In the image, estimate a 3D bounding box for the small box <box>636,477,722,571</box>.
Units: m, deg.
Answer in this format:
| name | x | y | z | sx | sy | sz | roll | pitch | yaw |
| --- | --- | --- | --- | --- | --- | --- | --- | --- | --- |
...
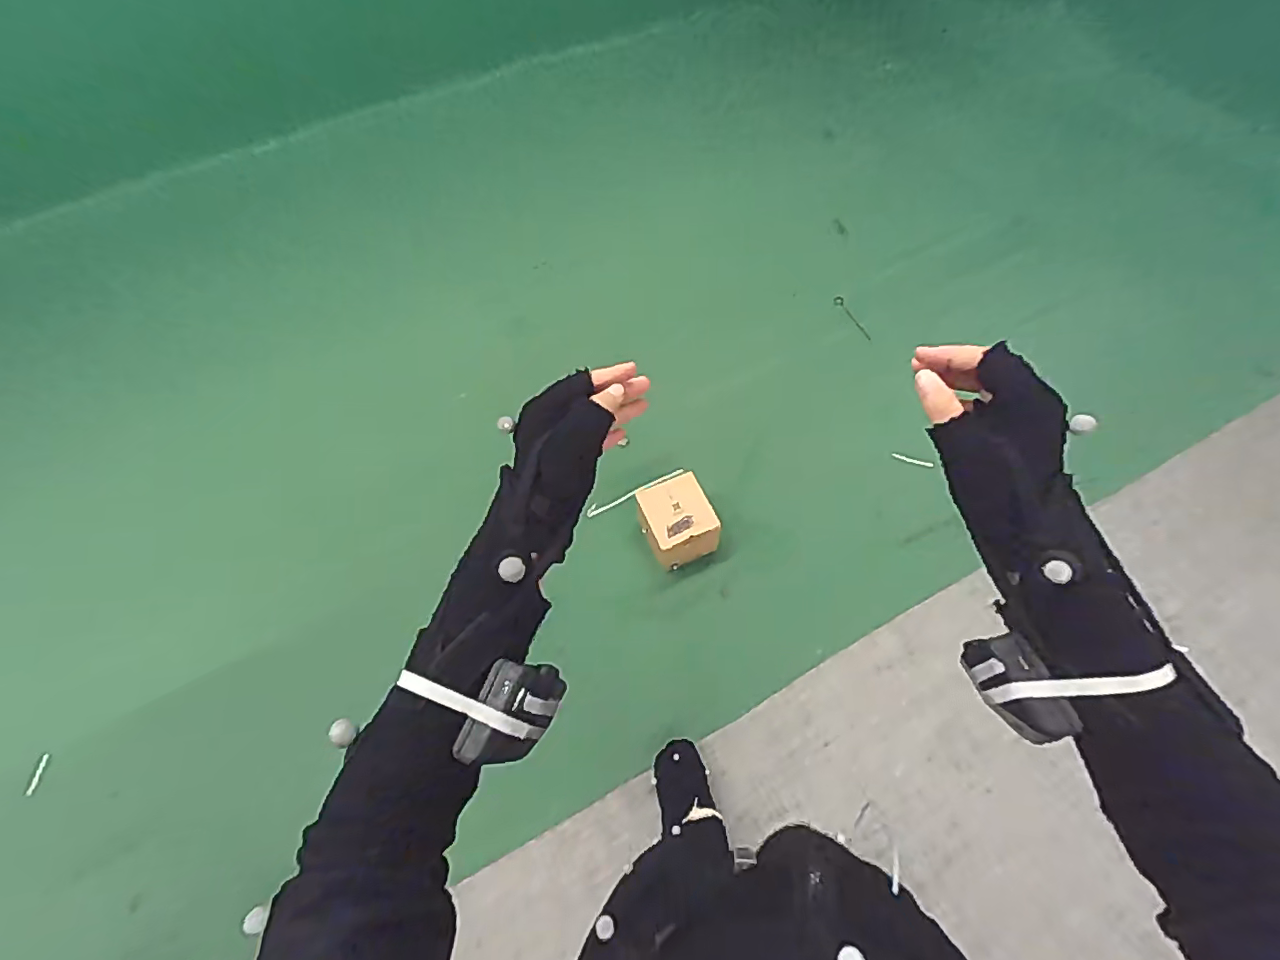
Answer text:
| name | x | y | z | sx | sy | sz | roll | pitch | yaw |
| --- | --- | --- | --- | --- | --- | --- | --- | --- | --- |
| small box | 0.101 | 0.127 | 1.442 | 0.168 | 0.176 | 0.179 | -25 | 65 | -10 |
